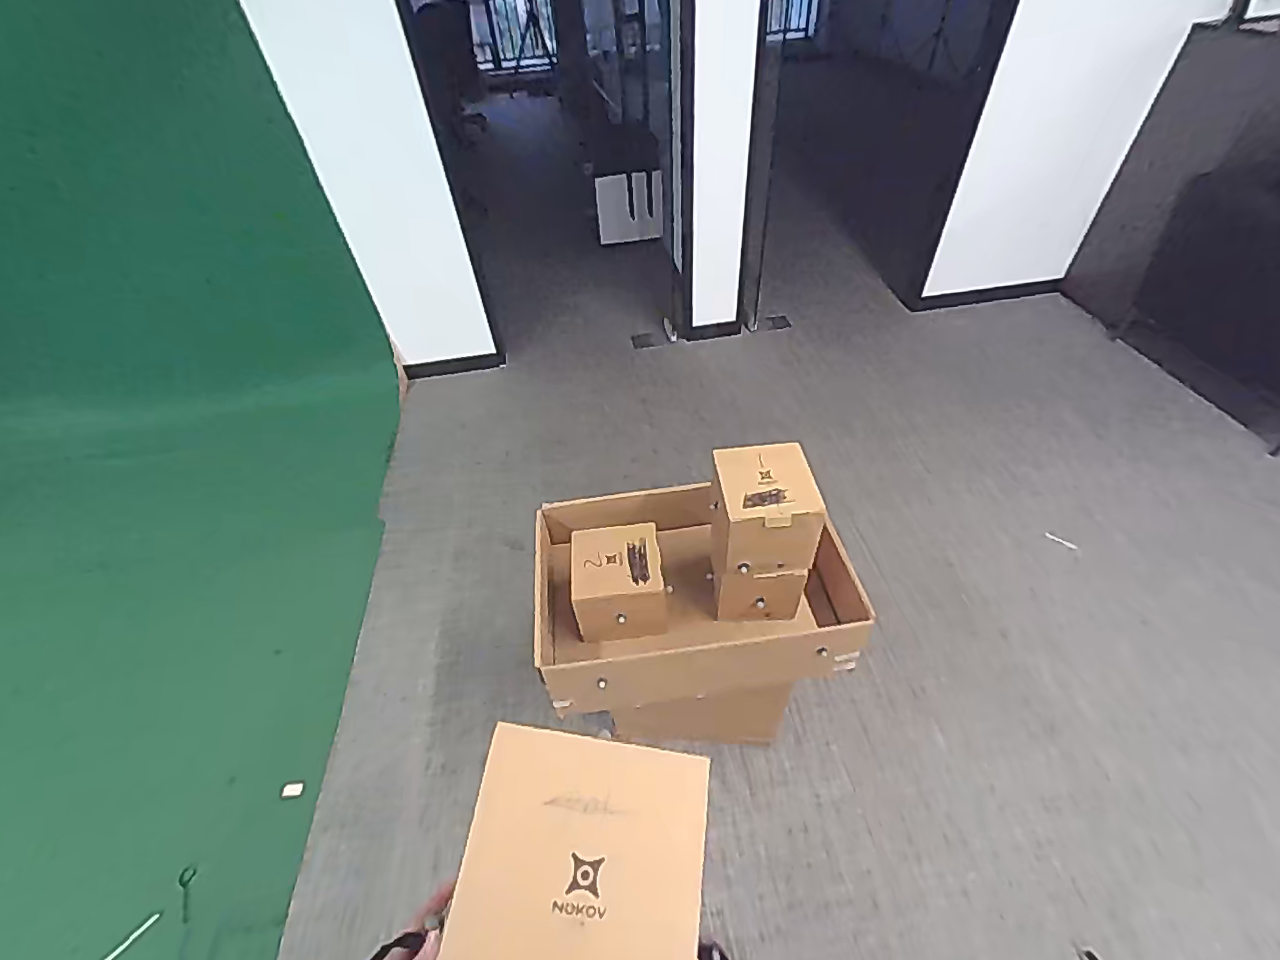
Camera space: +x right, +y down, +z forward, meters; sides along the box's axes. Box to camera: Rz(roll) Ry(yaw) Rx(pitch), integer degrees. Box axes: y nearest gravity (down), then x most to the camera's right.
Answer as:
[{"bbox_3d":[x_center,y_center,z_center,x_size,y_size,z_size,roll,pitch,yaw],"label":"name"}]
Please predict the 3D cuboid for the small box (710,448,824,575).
[{"bbox_3d":[0.226,0.064,1.010,0.168,0.176,0.179,-5,45,-1],"label":"small box"}]

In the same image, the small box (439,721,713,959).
[{"bbox_3d":[-0.054,0.307,0.432,0.168,0.176,0.179,15,59,-8],"label":"small box"}]
